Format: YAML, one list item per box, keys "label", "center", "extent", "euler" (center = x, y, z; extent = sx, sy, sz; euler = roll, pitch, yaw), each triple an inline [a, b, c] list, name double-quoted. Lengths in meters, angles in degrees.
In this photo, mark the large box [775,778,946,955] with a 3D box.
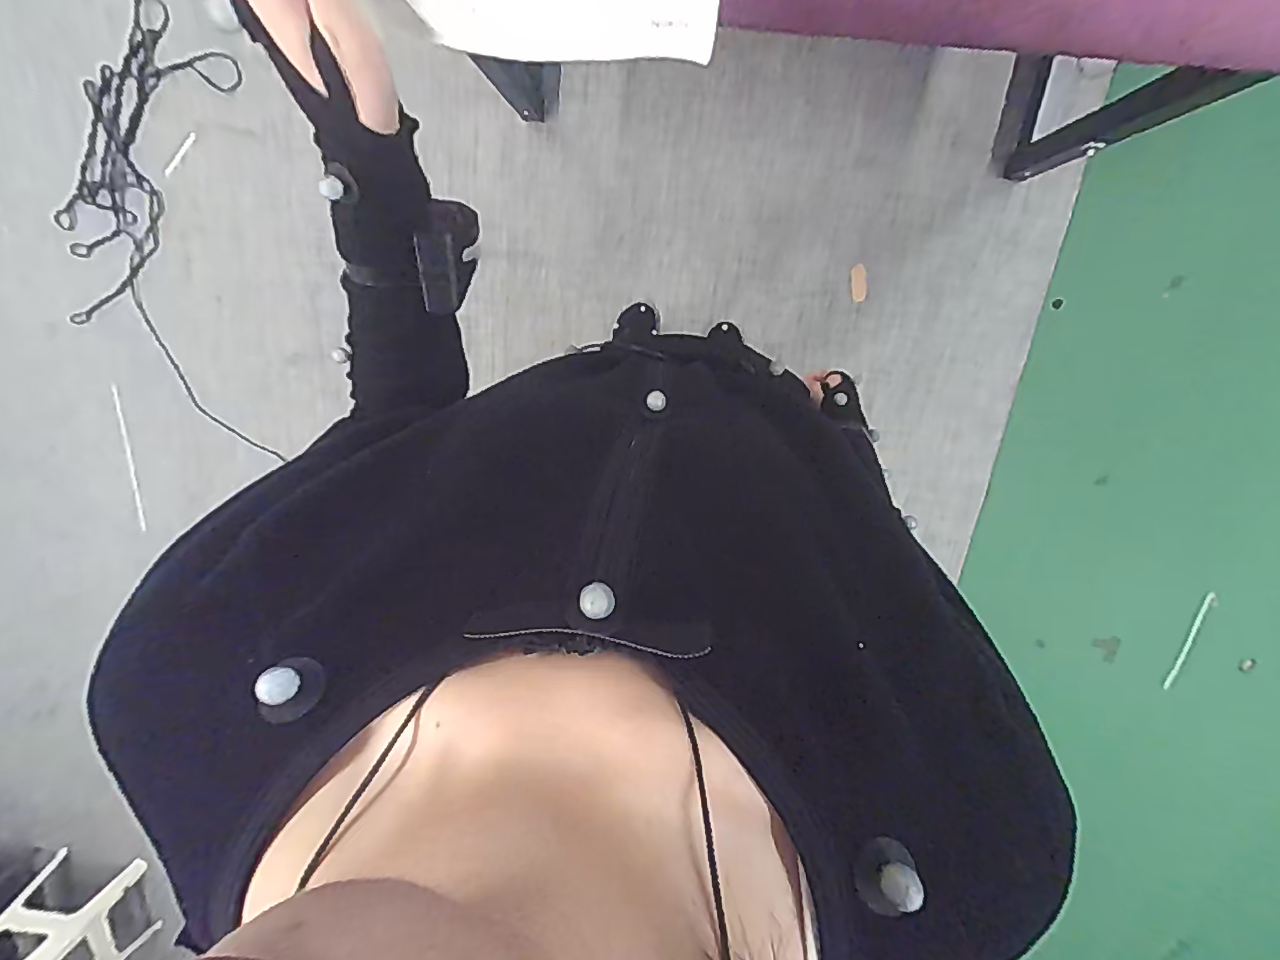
- label: "large box"
  center: [0.647, 1.157, 1.639]
  extent: [0.408, 0.320, 0.320]
  euler: [-7, 106, 6]
